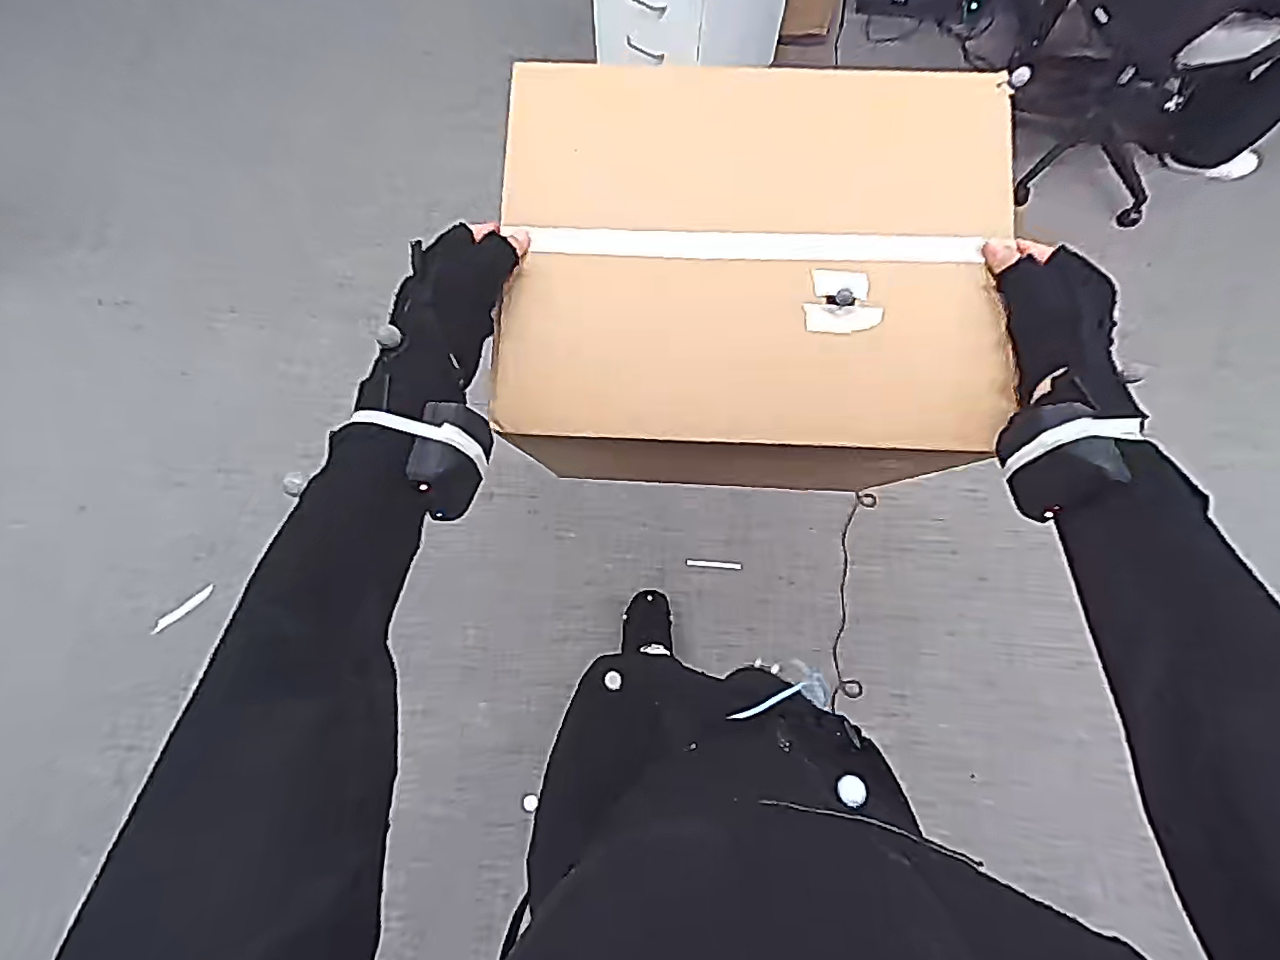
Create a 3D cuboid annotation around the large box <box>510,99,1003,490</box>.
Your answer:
[{"bbox_3d":[0.096,-0.160,0.598,0.408,0.320,0.320,2,84,1],"label":"large box"}]
